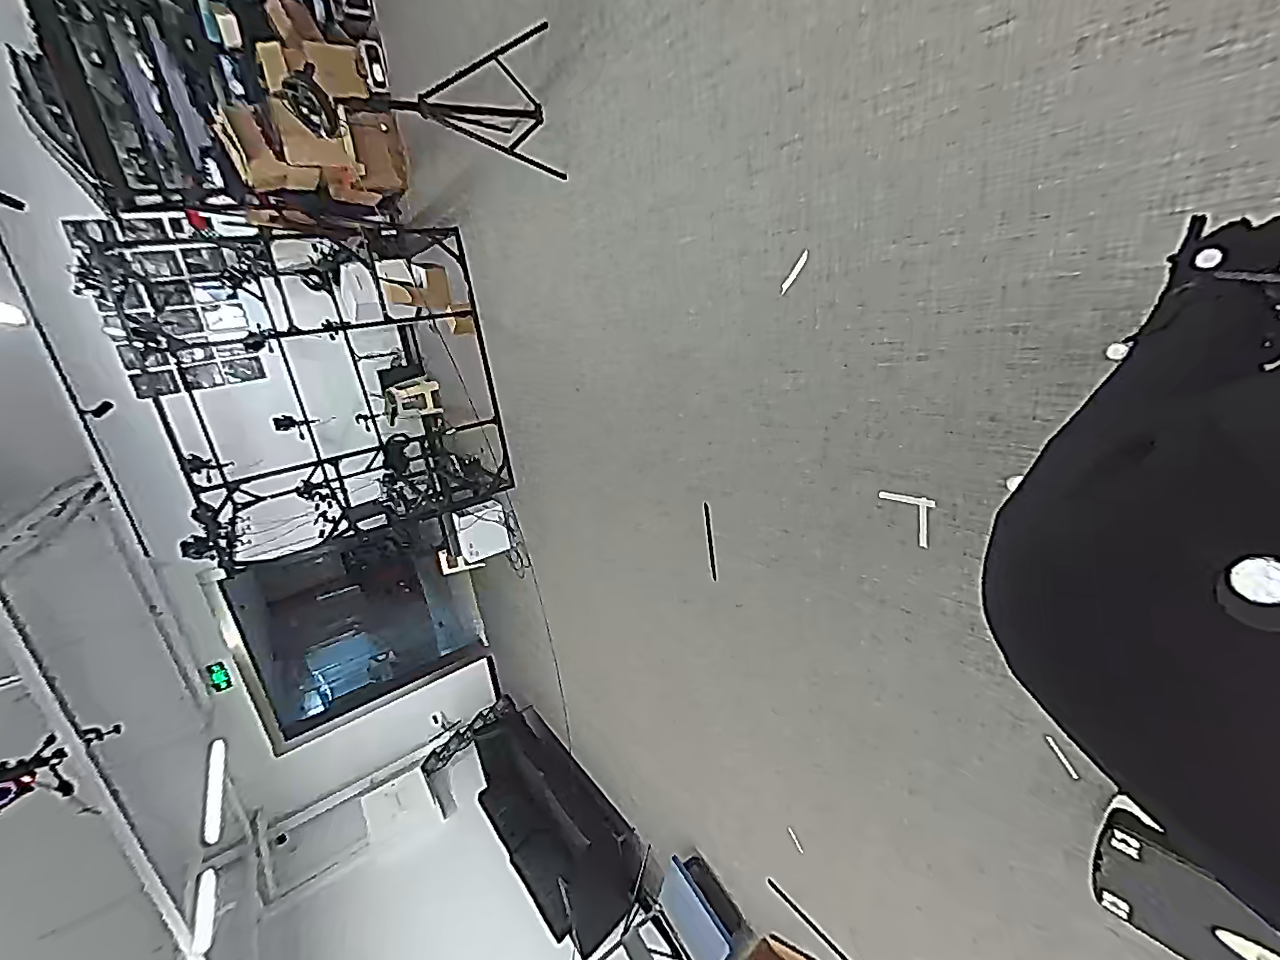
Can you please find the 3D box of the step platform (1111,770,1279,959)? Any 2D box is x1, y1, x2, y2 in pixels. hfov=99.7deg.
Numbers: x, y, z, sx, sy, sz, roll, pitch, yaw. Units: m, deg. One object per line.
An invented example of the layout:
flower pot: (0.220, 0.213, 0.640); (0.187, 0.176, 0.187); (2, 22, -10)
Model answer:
step platform: (1.365, 0.903, 1.046); (0.684, 0.204, 0.286); (17, 121, 55)
